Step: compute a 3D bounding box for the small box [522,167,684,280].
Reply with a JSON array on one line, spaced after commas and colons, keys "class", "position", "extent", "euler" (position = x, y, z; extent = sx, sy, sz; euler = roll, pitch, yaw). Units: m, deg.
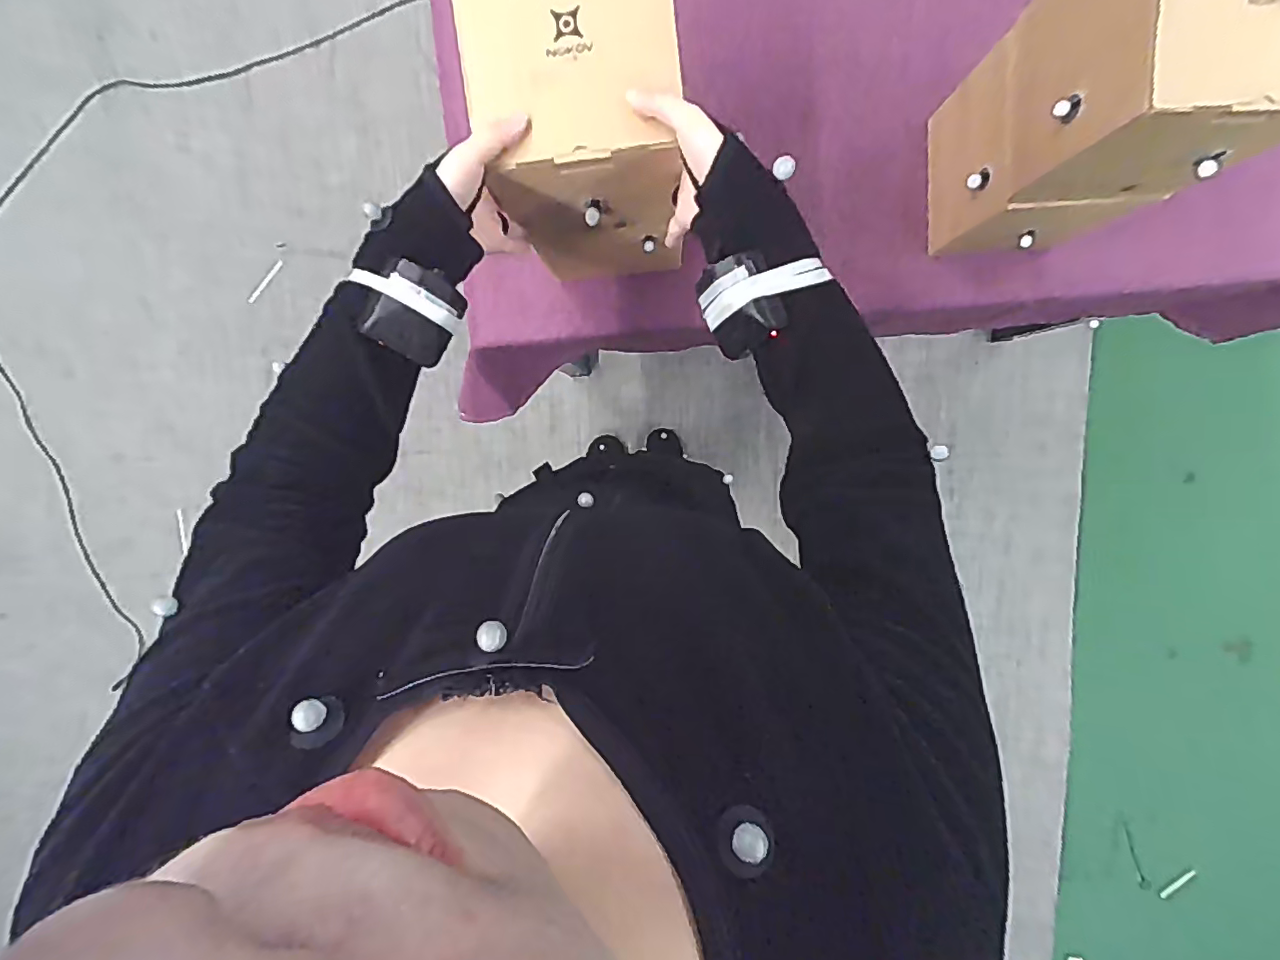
[{"class": "small box", "position": [-0.042, -0.351, 0.652], "extent": [0.179, 0.176, 0.168], "euler": [-5, 95, 2]}]

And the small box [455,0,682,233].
[{"class": "small box", "position": [-0.052, -0.339, 0.488], "extent": [0.168, 0.176, 0.179], "euler": [-6, 96, 2]}]

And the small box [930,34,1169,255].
[{"class": "small box", "position": [0.460, -0.373, 0.628], "extent": [0.168, 0.176, 0.179], "euler": [-2, 95, 2]}]

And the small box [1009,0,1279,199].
[{"class": "small box", "position": [0.453, -0.361, 0.465], "extent": [0.168, 0.176, 0.179], "euler": [0, 95, 2]}]
